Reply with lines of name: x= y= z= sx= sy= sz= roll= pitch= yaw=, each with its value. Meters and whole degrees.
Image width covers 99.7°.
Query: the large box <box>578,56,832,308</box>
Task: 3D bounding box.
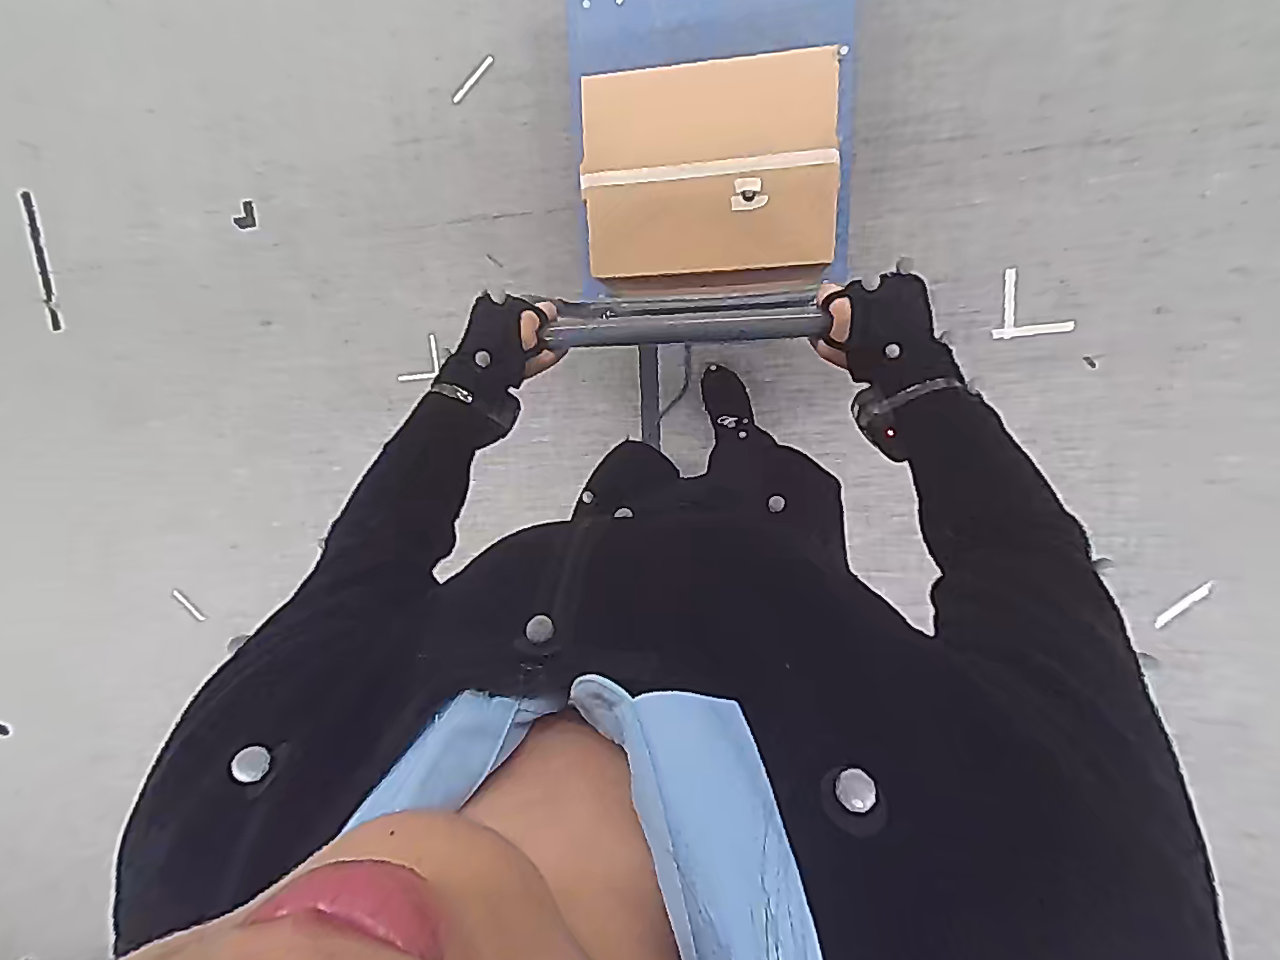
large box: x=0.121 y=-0.514 z=1.016 sx=0.408 sy=0.320 sz=0.320 roll=-1 pitch=101 yaw=8
